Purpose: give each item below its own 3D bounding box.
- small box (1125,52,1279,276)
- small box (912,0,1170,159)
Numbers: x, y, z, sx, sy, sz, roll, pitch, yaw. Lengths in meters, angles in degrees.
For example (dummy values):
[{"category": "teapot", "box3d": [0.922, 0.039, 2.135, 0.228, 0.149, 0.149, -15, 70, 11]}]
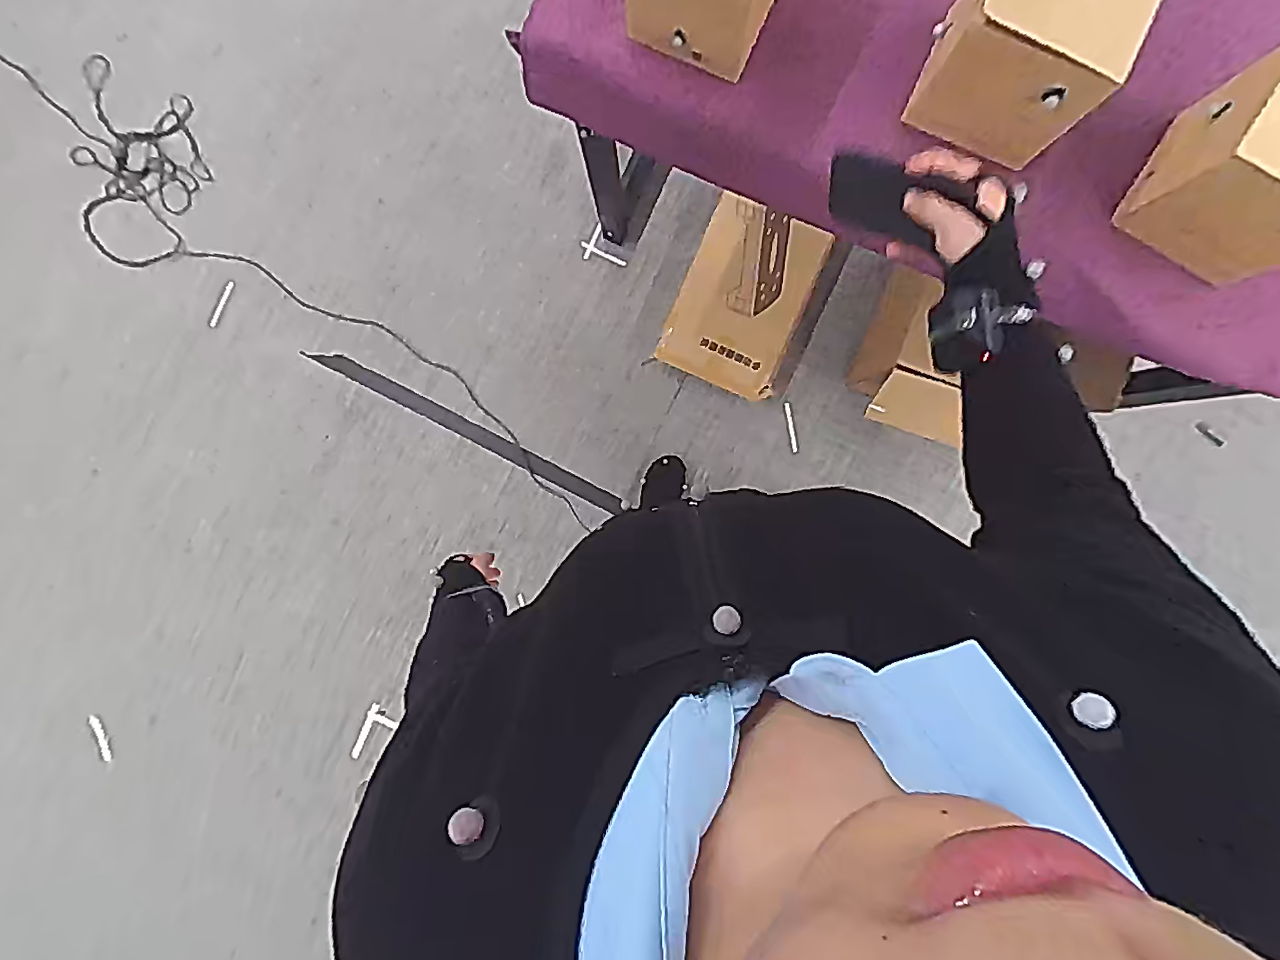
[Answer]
[{"category": "small box", "box3d": [0.749, -0.373, 0.640, 0.179, 0.176, 0.168, 31, 93, 0]}, {"category": "small box", "box3d": [0.470, -0.525, 0.643, 0.179, 0.176, 0.168, 24, 90, 1]}]
